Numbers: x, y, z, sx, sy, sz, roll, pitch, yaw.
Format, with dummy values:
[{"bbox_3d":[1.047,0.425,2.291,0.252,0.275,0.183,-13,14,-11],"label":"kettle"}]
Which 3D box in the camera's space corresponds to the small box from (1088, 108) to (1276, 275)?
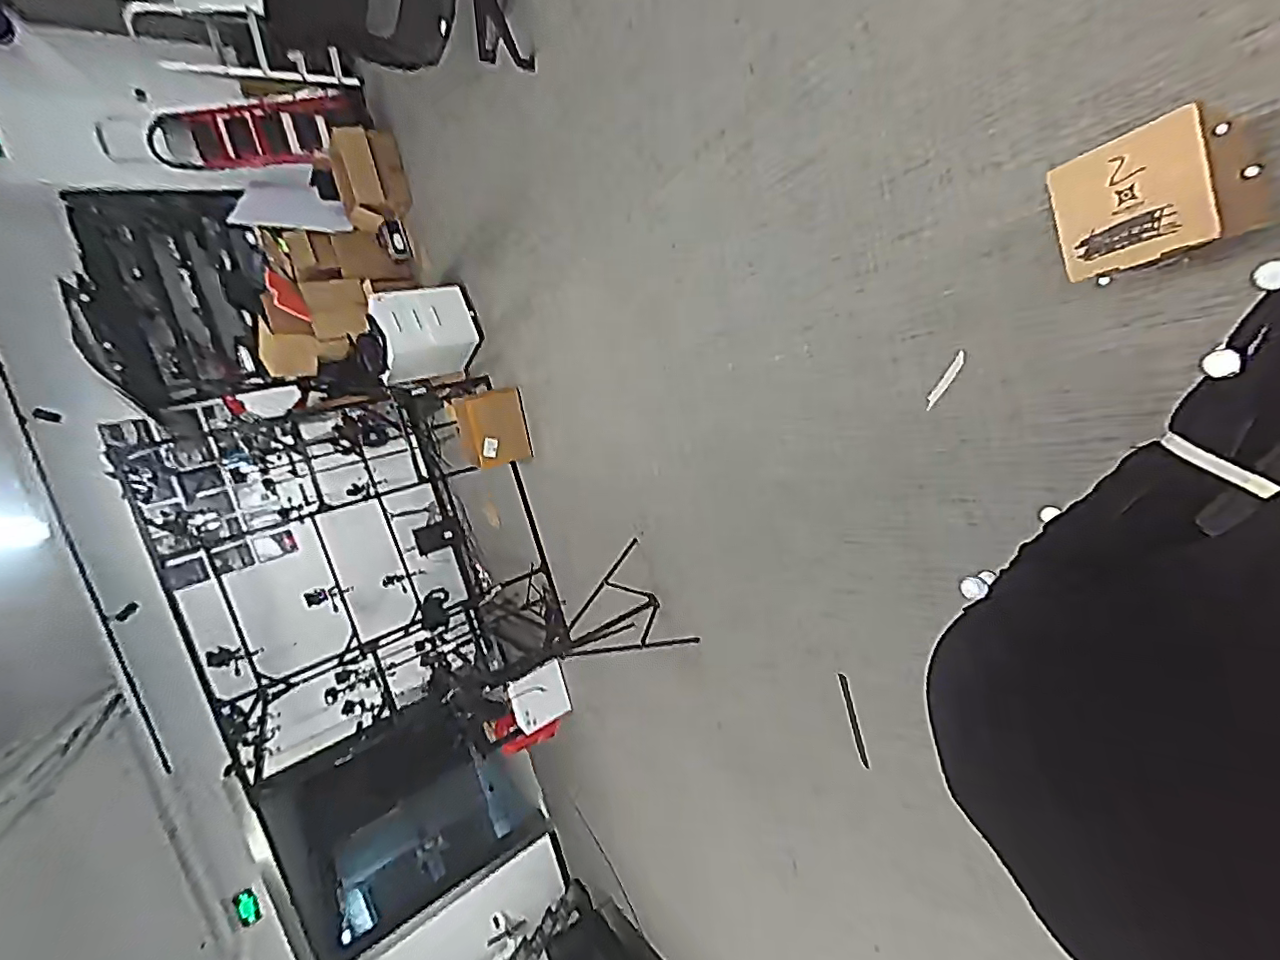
[{"bbox_3d":[0.876,-0.456,0.876,0.168,0.176,0.179,-18,92,58],"label":"small box"}]
